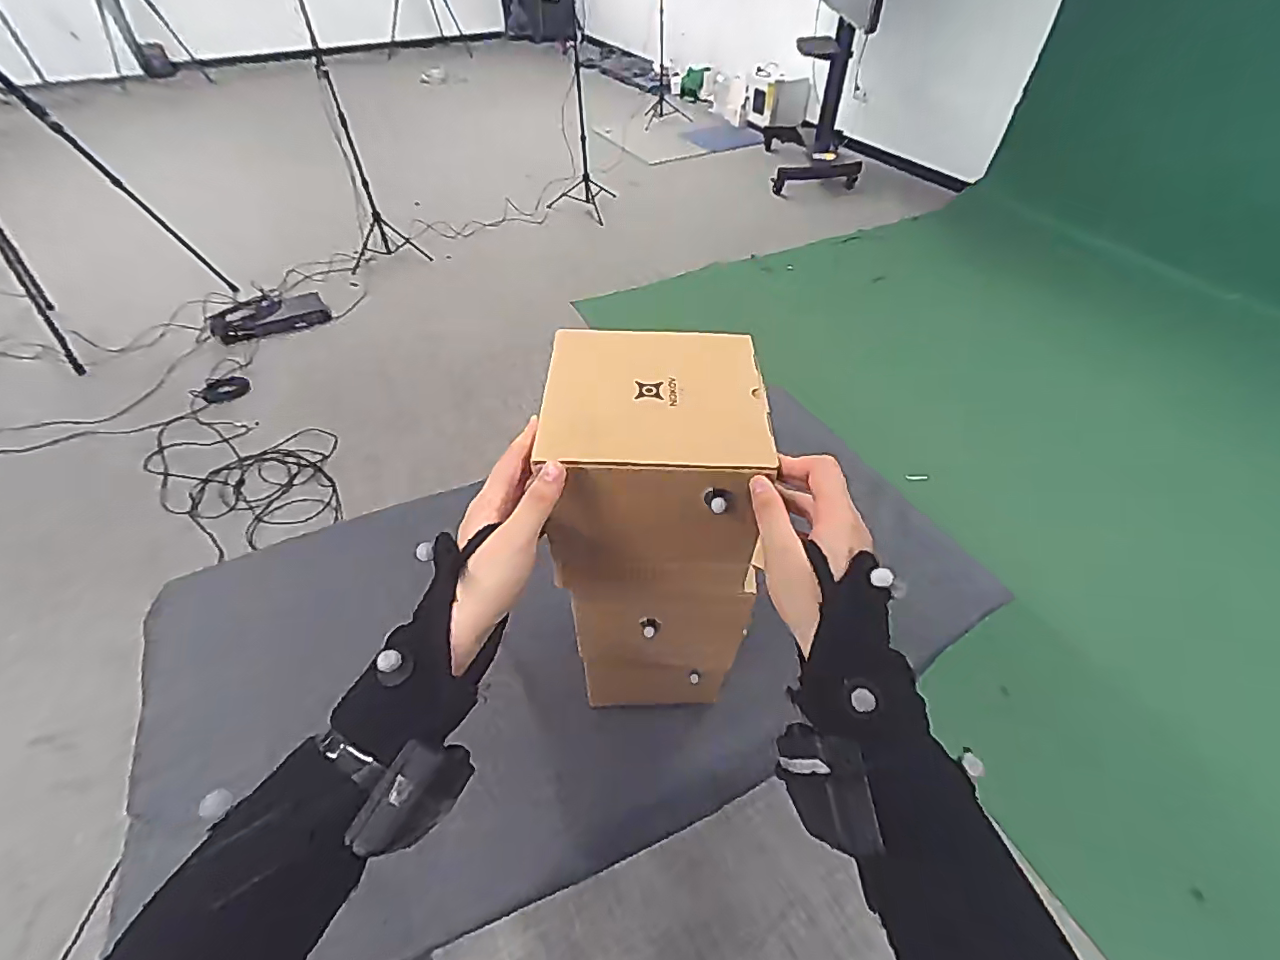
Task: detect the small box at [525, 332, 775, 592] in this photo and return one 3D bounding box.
[{"bbox_3d":[0.007,-0.013,0.481,0.179,0.176,0.168,2,48,-1],"label":"small box"}]

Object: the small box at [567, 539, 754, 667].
[{"bbox_3d":[0.024,0.095,0.605,0.179,0.176,0.168,4,47,3],"label":"small box"}]
